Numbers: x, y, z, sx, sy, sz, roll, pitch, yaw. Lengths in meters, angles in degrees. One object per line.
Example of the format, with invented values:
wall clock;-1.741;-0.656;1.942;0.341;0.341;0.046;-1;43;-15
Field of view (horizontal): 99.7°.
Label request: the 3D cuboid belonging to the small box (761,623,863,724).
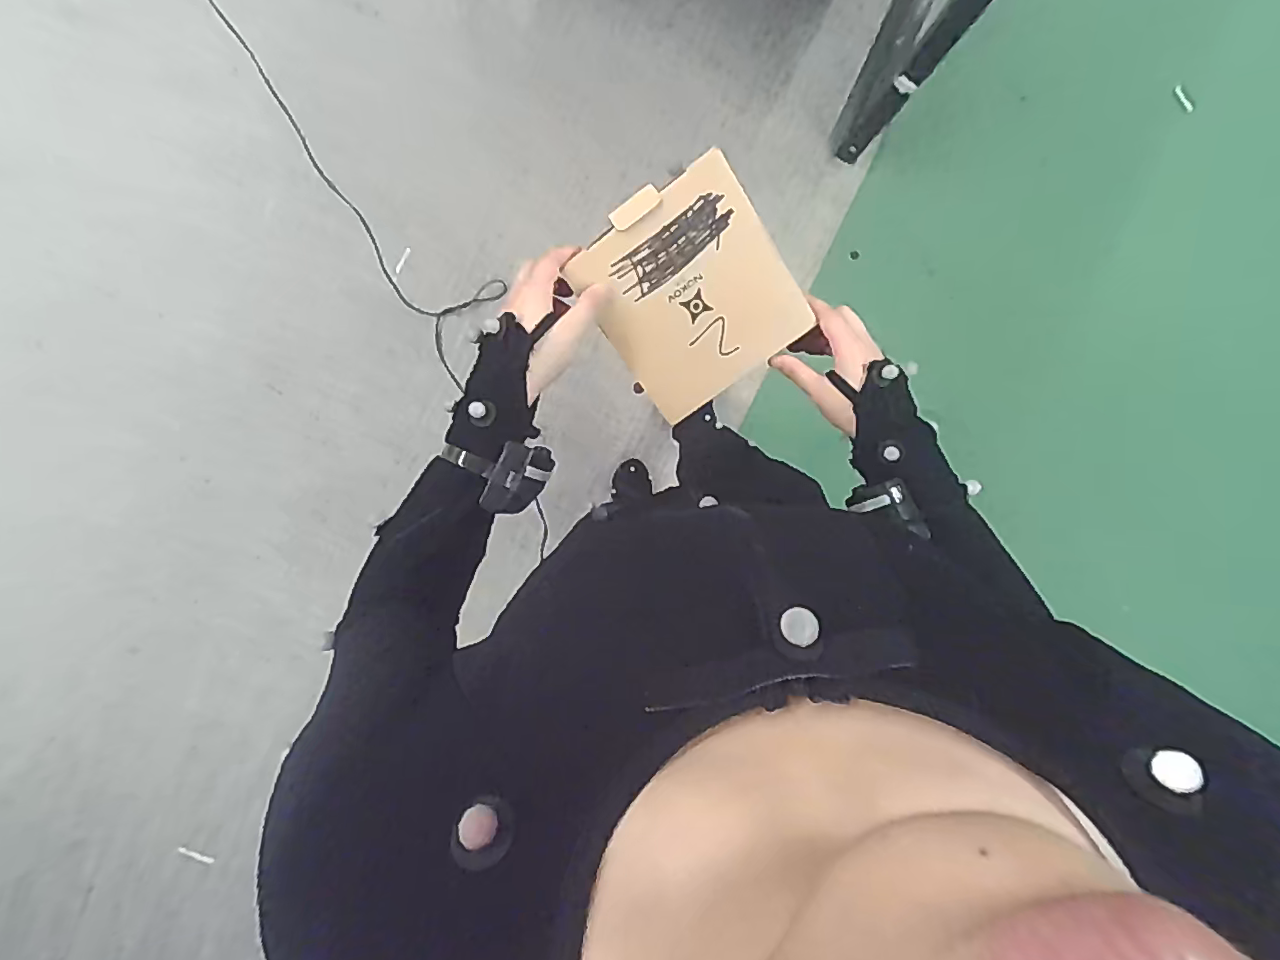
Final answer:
small box;0.454;0.511;1.464;0.179;0.176;0.168;33;94;-5
